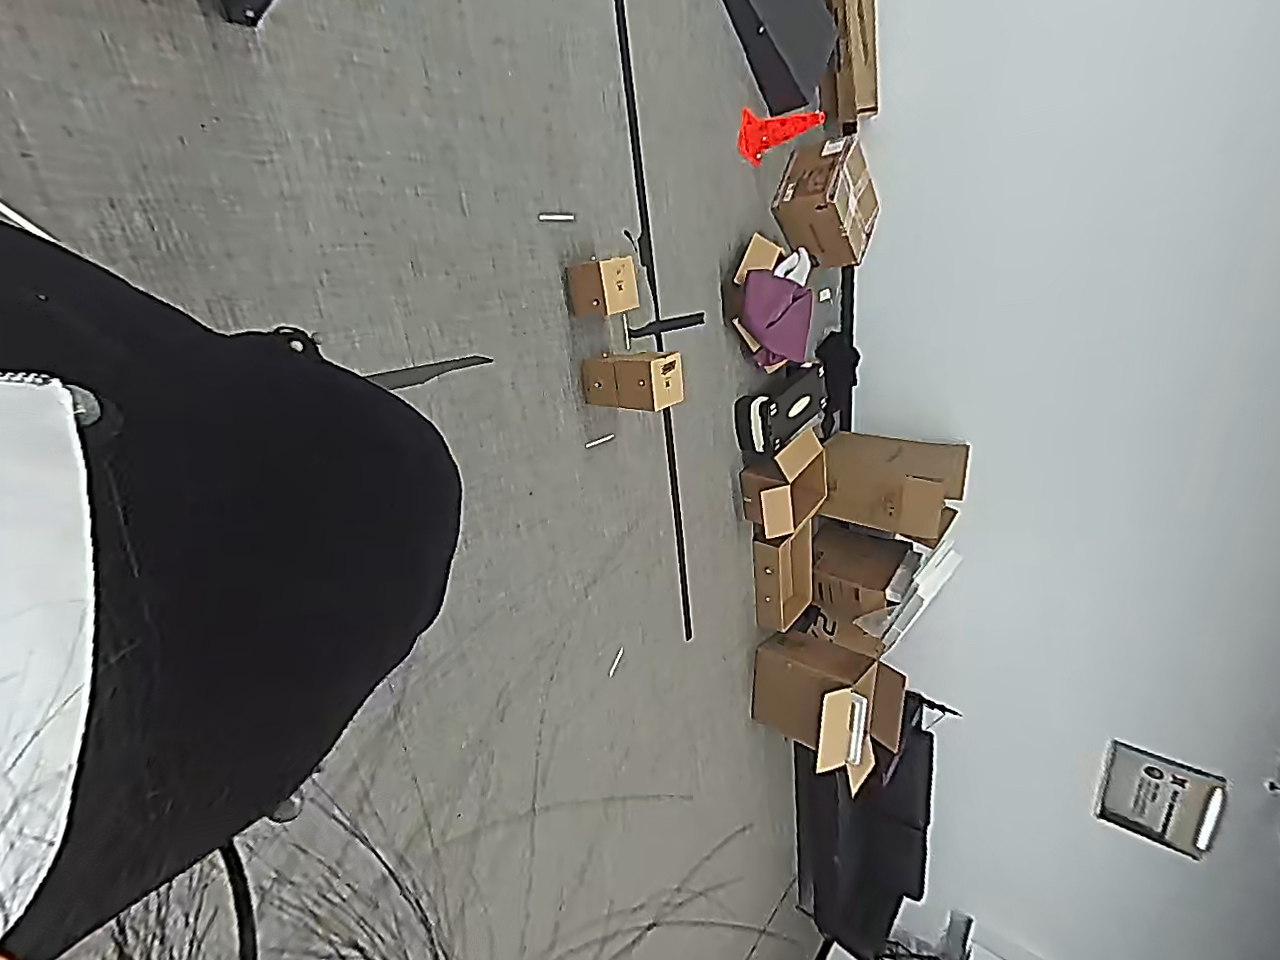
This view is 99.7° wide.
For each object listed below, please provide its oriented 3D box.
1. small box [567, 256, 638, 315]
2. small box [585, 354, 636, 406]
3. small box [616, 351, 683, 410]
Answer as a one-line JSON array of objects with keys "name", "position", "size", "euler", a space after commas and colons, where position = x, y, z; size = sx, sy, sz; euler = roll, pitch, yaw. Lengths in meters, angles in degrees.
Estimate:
[{"name": "small box", "position": [-0.132, -0.679, 1.897], "size": [0.168, 0.176, 0.179], "euler": [-31, 121, -41]}, {"name": "small box", "position": [-0.092, -0.378, 2.021], "size": [0.179, 0.176, 0.168], "euler": [-25, 117, -42]}, {"name": "small box", "position": [0.031, -0.355, 1.912], "size": [0.168, 0.176, 0.179], "euler": [-27, 120, -42]}]
